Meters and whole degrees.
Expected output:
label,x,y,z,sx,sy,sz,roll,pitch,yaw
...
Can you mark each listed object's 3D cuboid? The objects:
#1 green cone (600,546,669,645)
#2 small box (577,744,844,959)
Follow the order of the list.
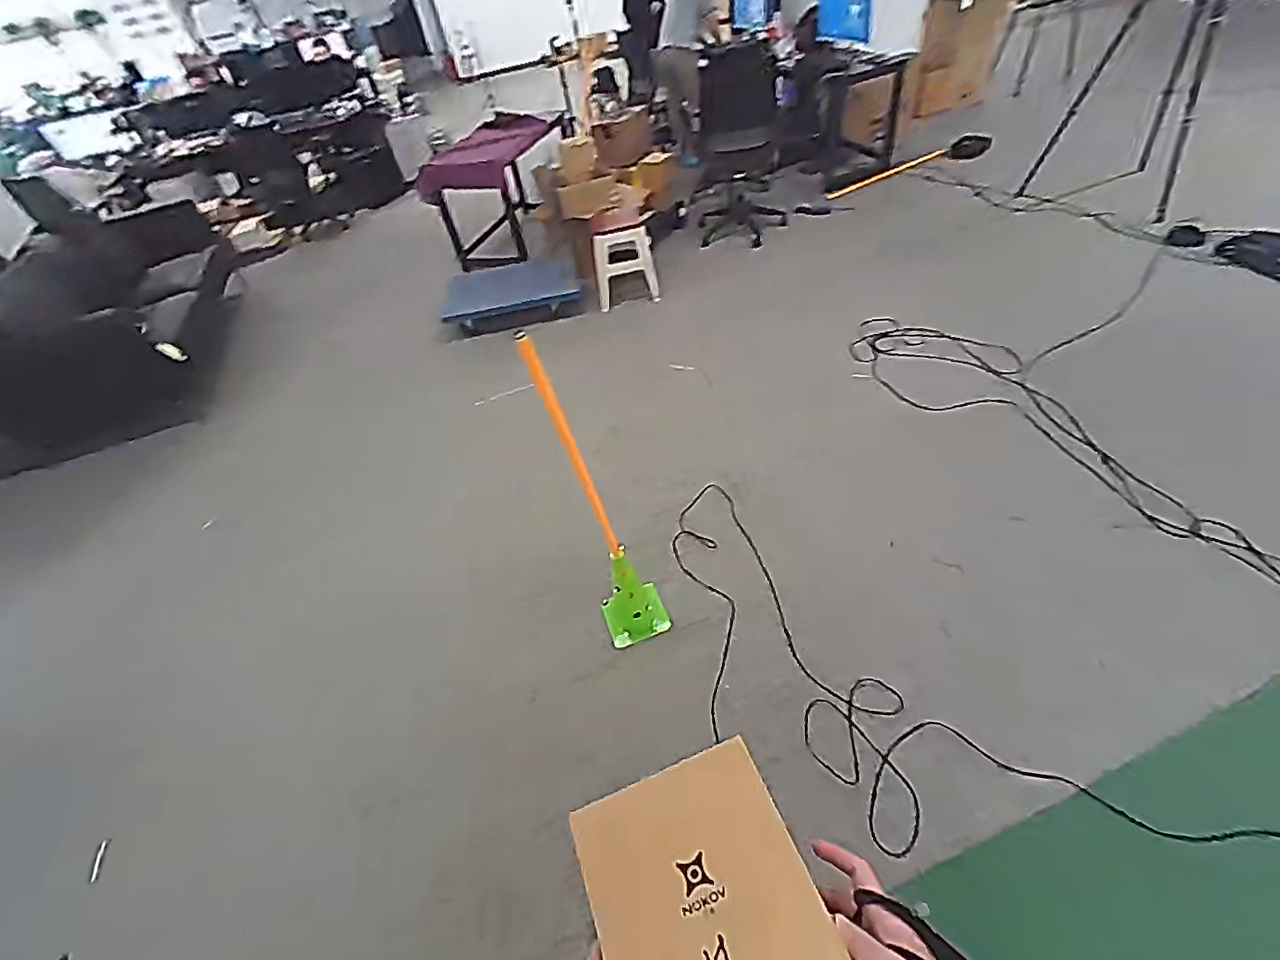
label,x,y,z,sx,sy,sz,roll,pitch,yaw
green cone,-0.043,0.340,1.745,0.202,0.368,0.200,-19,46,-9
small box,0.057,0.375,0.479,0.168,0.176,0.179,-20,47,-7
